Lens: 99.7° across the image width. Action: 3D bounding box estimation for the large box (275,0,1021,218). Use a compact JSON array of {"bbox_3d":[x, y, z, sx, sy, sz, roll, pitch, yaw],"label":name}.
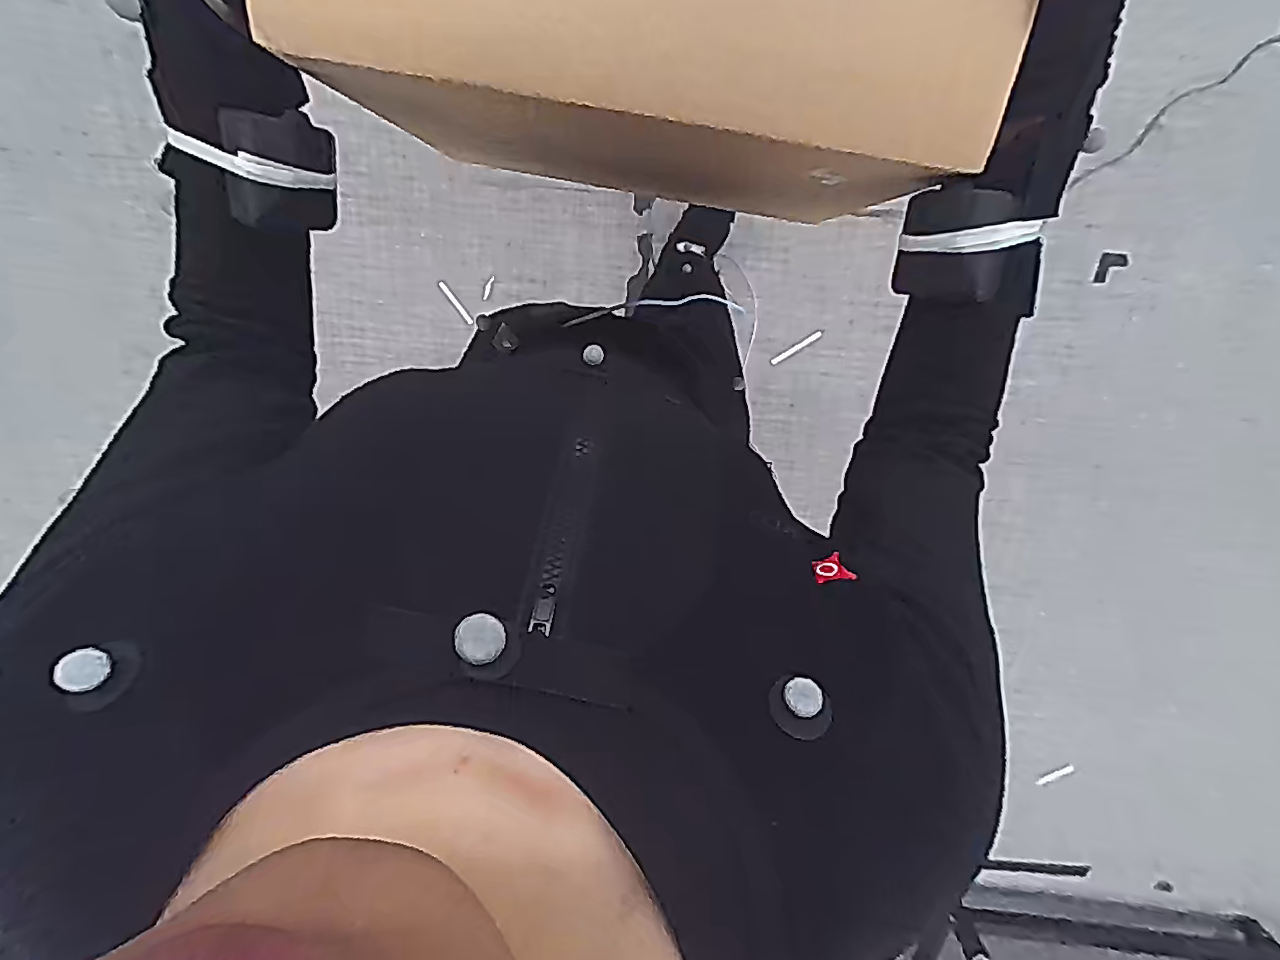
[{"bbox_3d":[0.017,-0.400,0.394,0.408,0.320,0.320,8,111,-3],"label":"large box"}]
